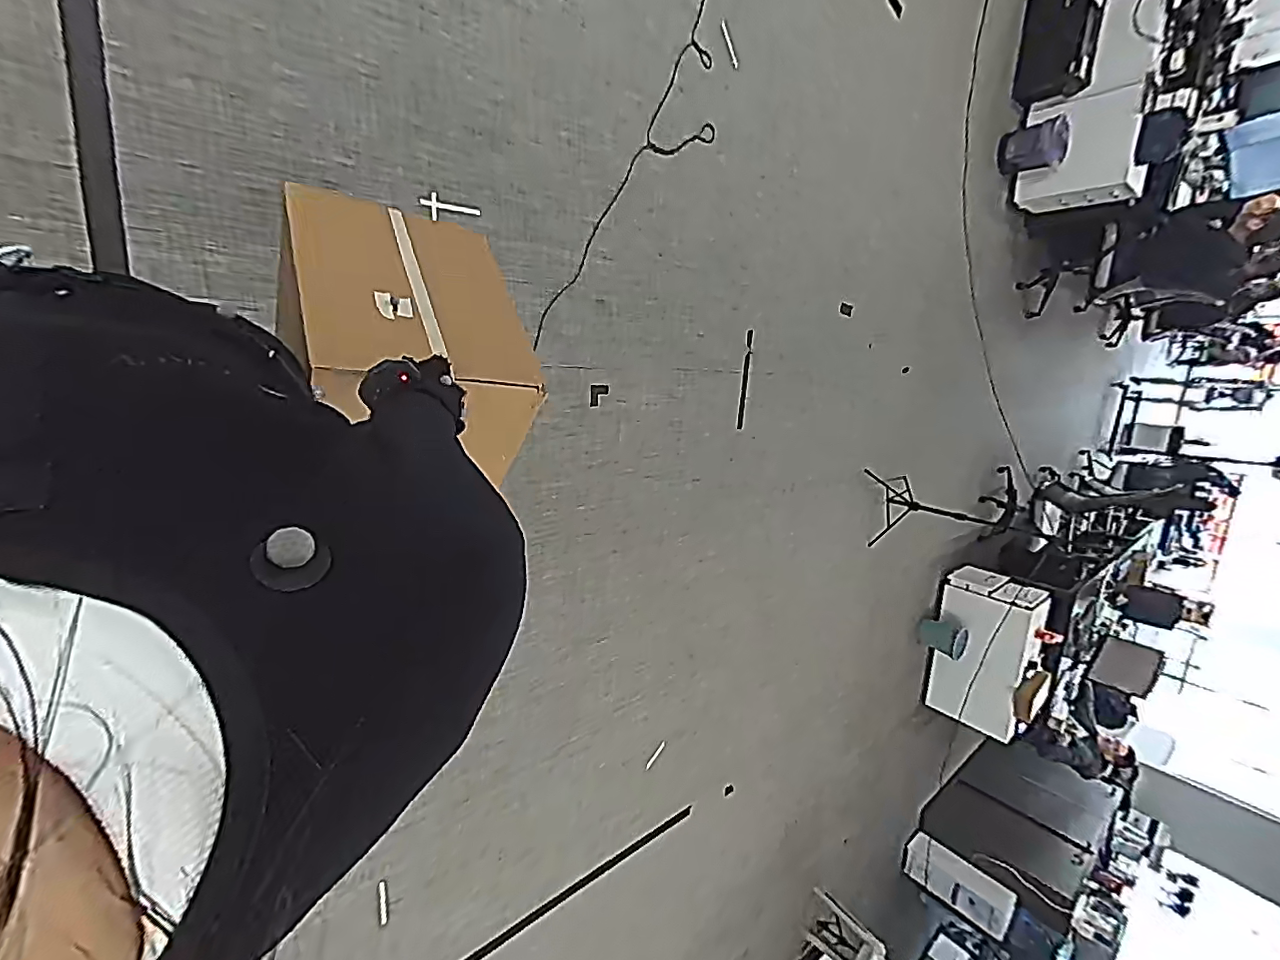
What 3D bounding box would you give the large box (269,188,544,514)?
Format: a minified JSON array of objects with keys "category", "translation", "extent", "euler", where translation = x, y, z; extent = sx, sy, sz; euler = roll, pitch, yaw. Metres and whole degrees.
[{"category":"large box","translation":[-0.416,-0.197,0.913],"extent":[0.320,0.408,0.320],"euler":[-3,146,-38]}]
